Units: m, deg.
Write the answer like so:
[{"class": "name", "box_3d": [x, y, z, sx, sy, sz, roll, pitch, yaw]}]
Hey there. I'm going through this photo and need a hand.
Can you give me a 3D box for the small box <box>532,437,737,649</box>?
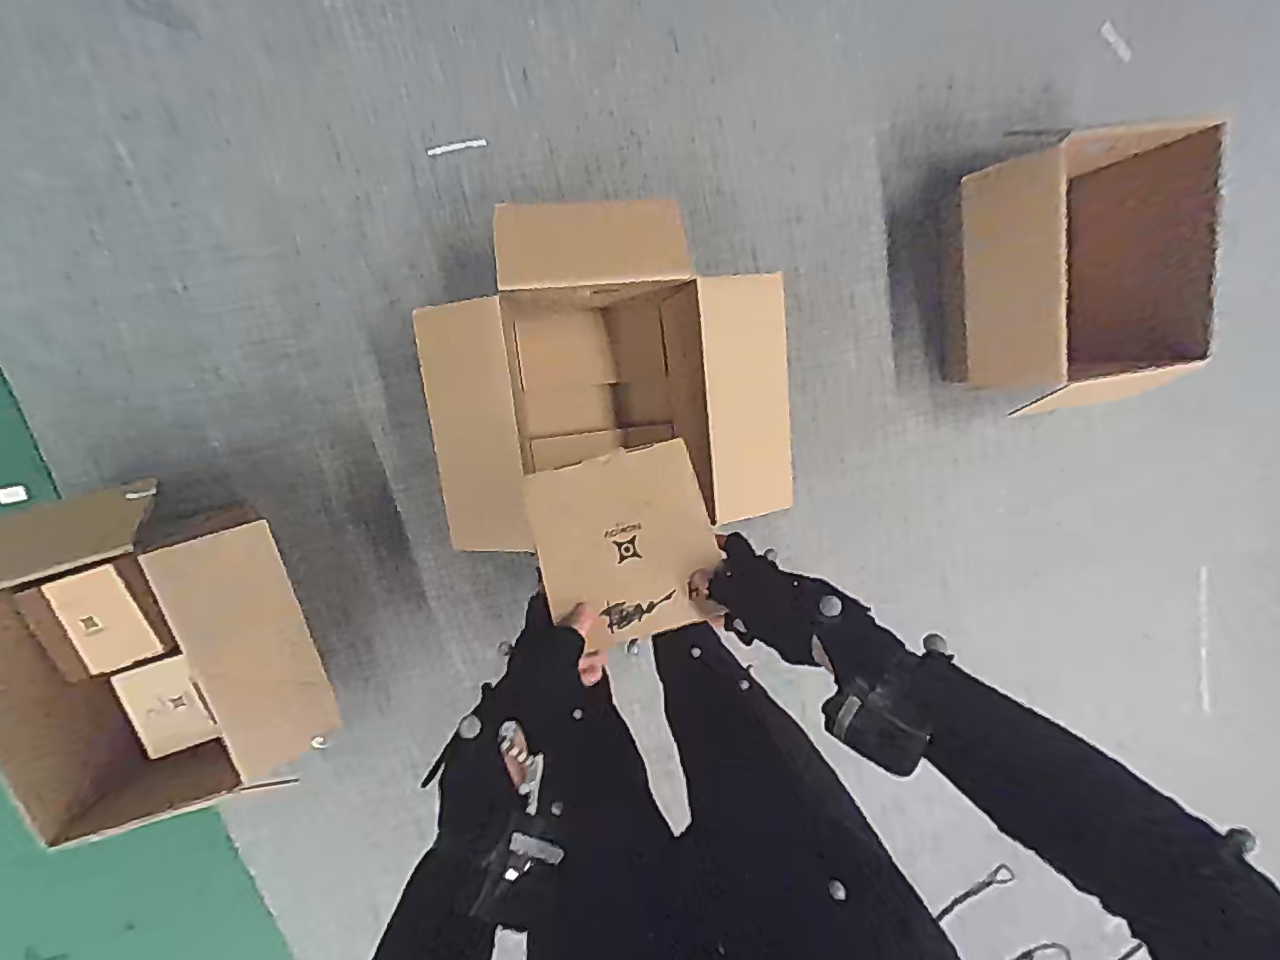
[{"class": "small box", "box_3d": [-0.015, 0.077, 0.585, 0.168, 0.176, 0.179, -12, 74, -8]}]
